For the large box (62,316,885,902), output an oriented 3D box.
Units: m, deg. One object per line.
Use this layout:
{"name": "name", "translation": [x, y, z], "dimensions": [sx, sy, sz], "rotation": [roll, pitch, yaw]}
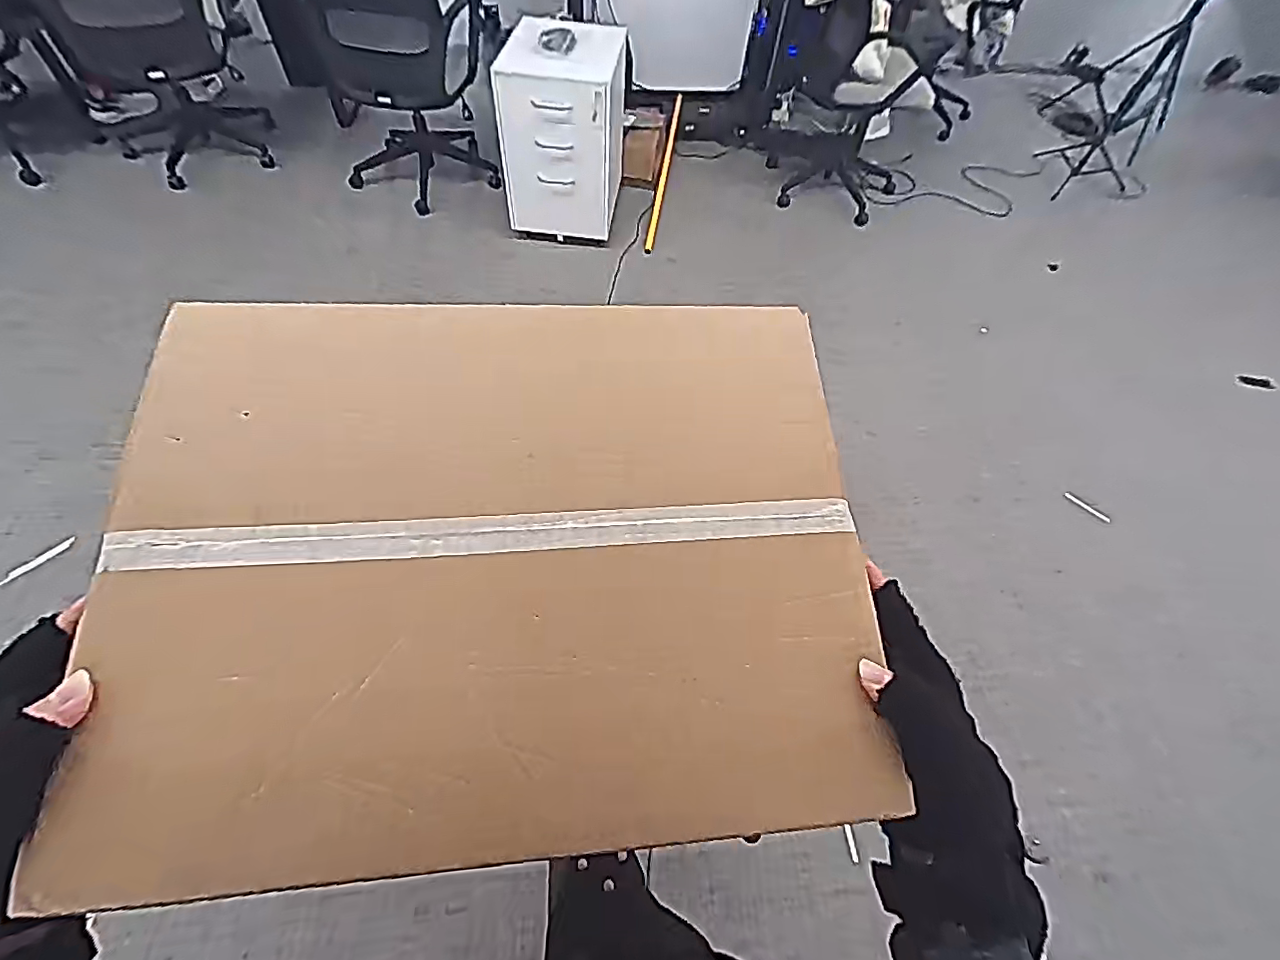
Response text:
{"name": "large box", "translation": [-0.089, 0.086, 0.454], "dimensions": [0.408, 0.320, 0.320], "rotation": [-2, 69, -7]}
